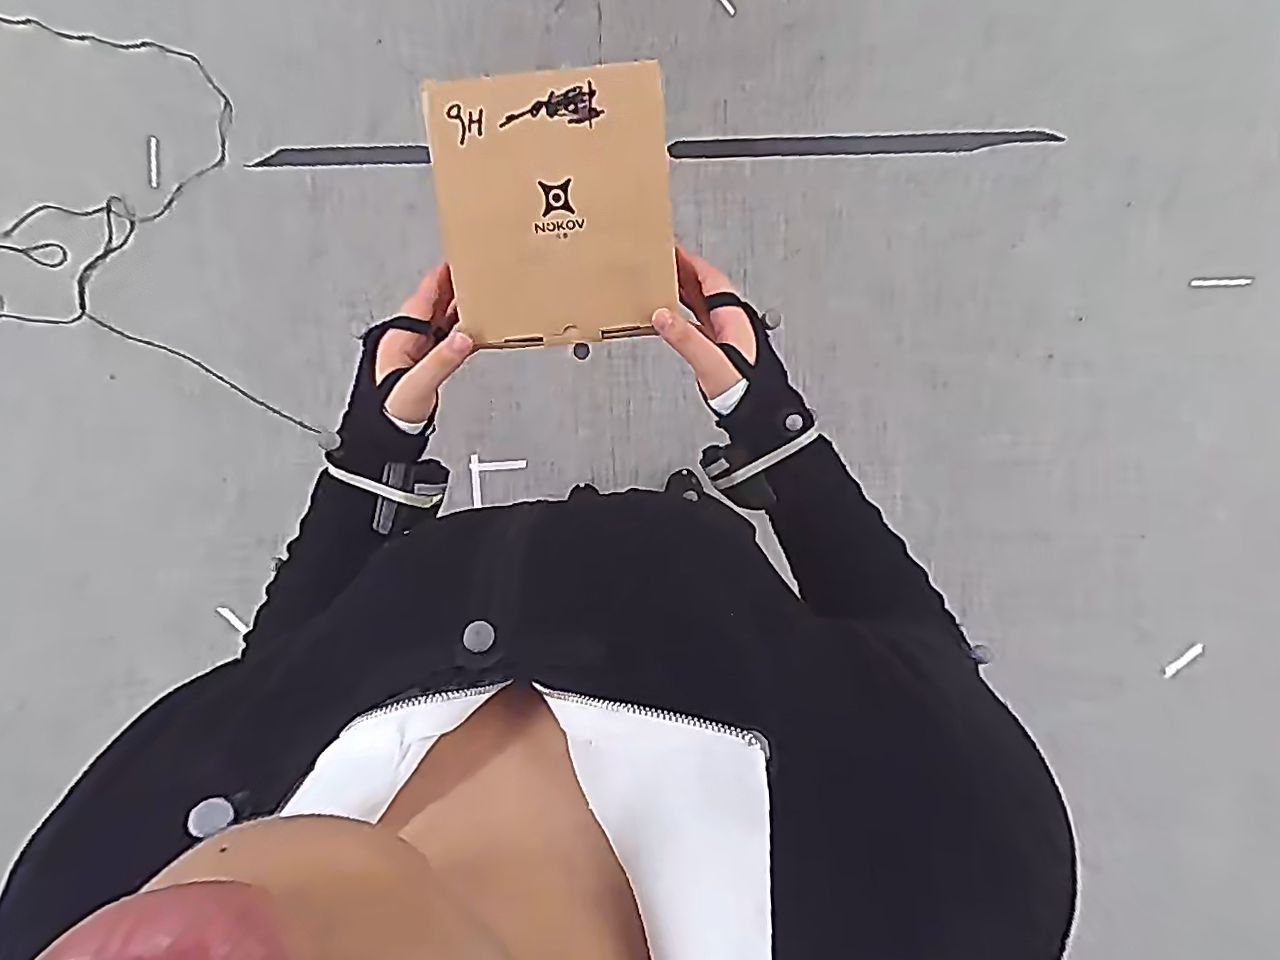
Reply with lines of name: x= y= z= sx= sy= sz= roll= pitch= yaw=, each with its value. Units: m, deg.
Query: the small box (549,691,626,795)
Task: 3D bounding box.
small box: x=-0.123 y=0.640 z=1.327 sx=0.168 sy=0.176 sz=0.179 roll=-2 pitch=92 yaw=2
